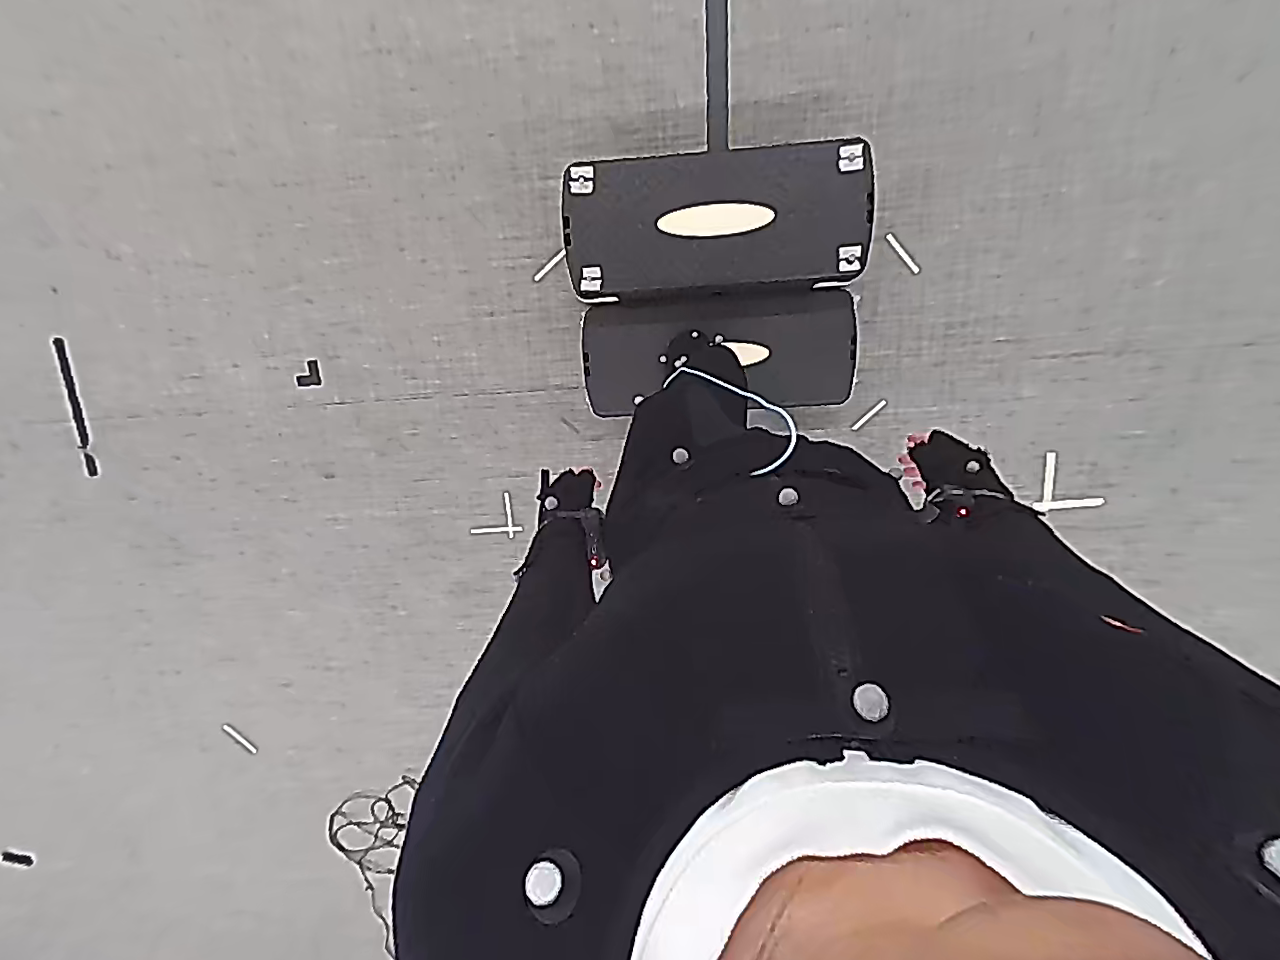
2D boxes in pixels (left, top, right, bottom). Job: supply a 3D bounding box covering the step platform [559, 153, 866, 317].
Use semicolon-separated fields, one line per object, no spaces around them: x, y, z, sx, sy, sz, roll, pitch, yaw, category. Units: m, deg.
0.157;-0.553;1.255;0.684;0.204;0.286;-4;104;4;step platform
